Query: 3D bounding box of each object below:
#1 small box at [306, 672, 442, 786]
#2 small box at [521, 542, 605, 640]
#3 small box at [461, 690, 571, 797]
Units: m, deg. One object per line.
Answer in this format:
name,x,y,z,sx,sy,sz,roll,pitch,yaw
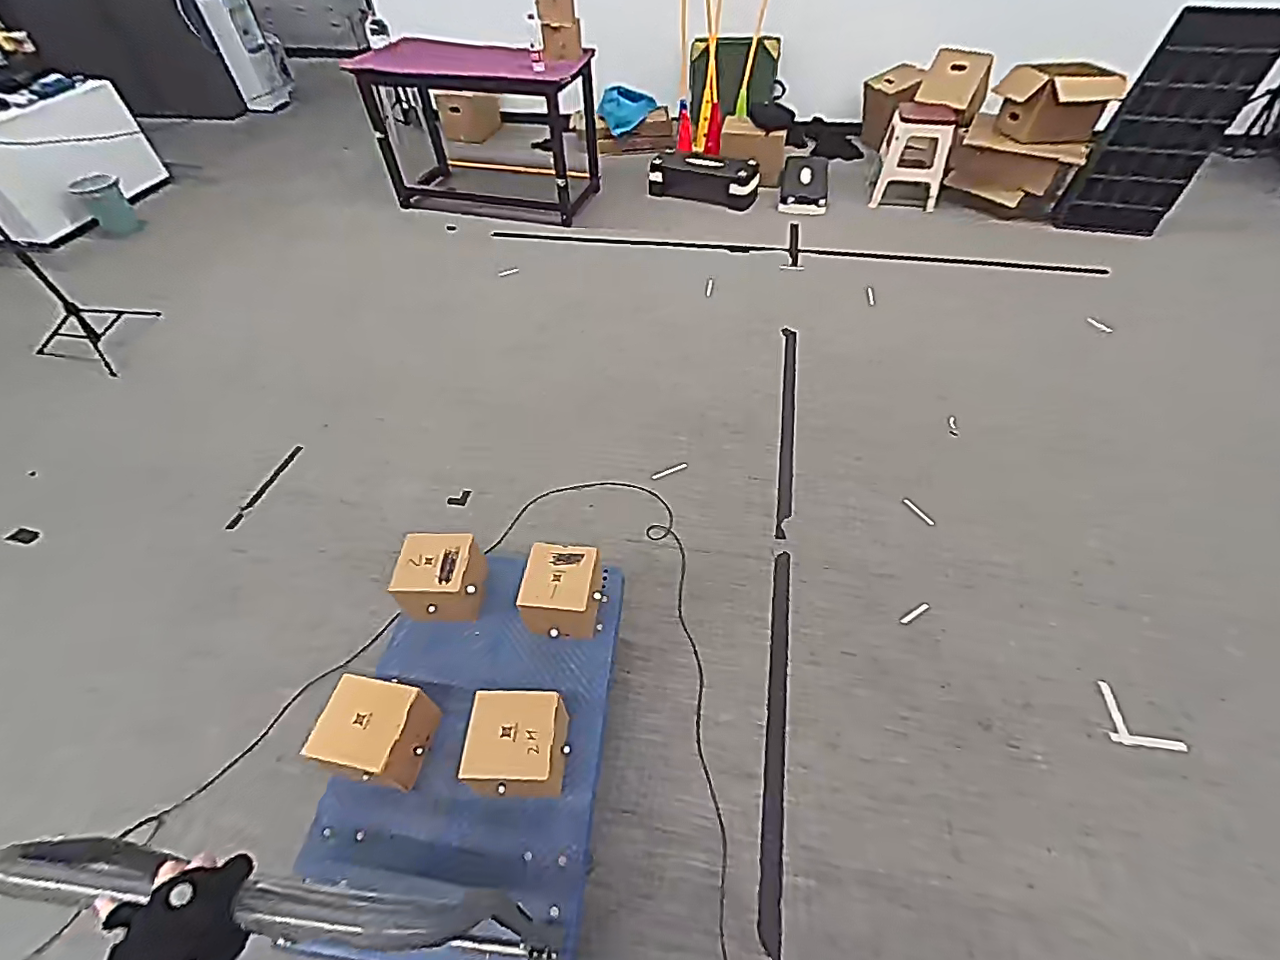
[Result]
small box,-0.556,0.535,1.157,0.179,0.176,0.168,9,50,7
small box,-0.185,0.280,1.360,0.168,0.176,0.179,5,51,6
small box,-0.249,0.553,1.131,0.179,0.176,0.168,0,50,2
